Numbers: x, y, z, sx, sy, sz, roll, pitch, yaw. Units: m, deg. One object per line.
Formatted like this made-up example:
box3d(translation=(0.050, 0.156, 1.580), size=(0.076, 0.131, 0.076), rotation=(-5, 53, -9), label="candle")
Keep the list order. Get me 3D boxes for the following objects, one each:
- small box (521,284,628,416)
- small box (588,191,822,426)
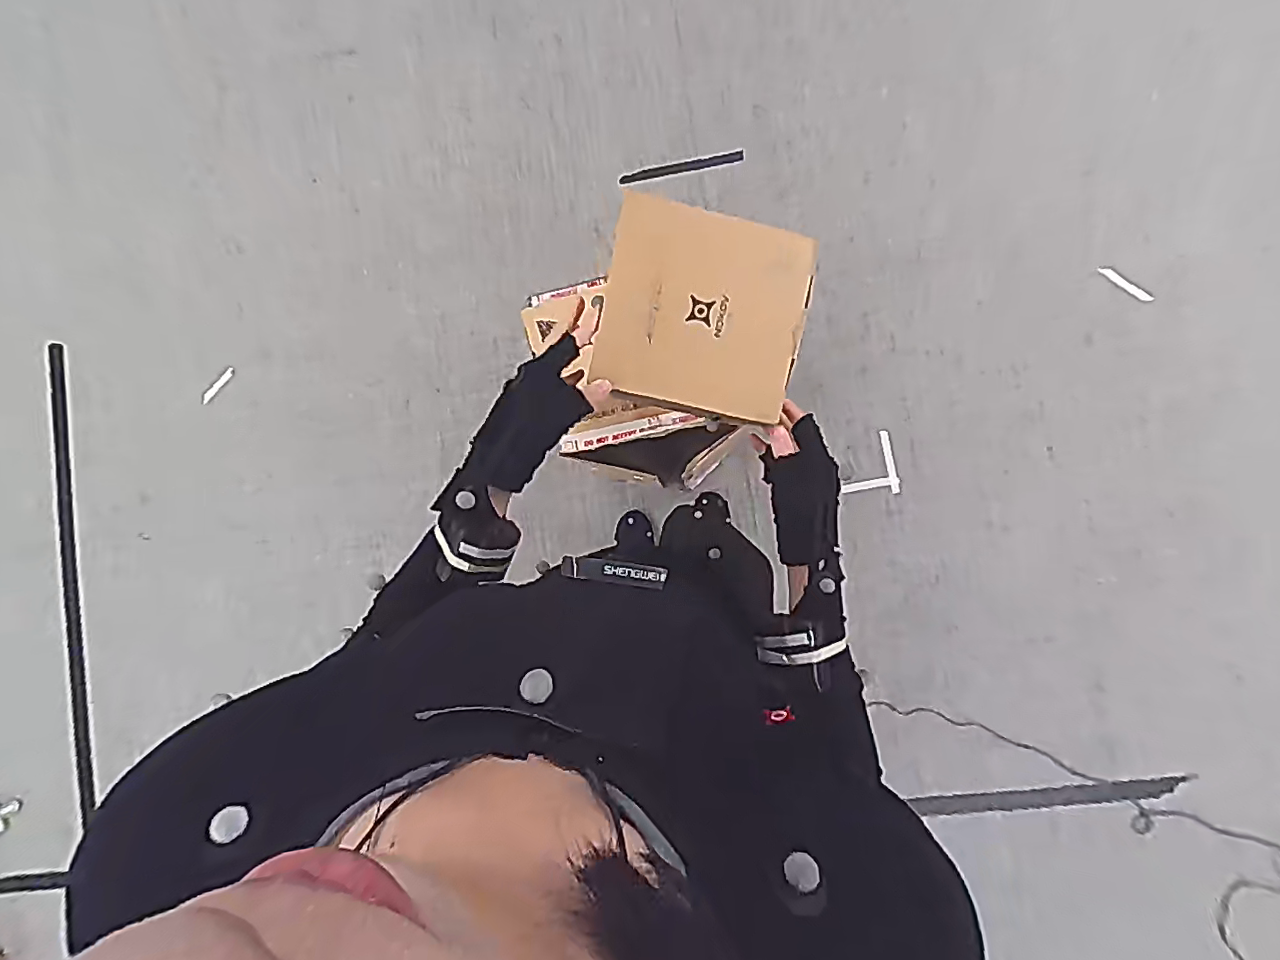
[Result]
box3d(translation=(-0.090, -0.223, 0.970), size=(0.179, 0.176, 0.168), rotation=(-15, 85, 4), label="small box")
box3d(translation=(0.050, -0.153, 0.540), size=(0.179, 0.176, 0.168), rotation=(11, 95, -4), label="small box")
